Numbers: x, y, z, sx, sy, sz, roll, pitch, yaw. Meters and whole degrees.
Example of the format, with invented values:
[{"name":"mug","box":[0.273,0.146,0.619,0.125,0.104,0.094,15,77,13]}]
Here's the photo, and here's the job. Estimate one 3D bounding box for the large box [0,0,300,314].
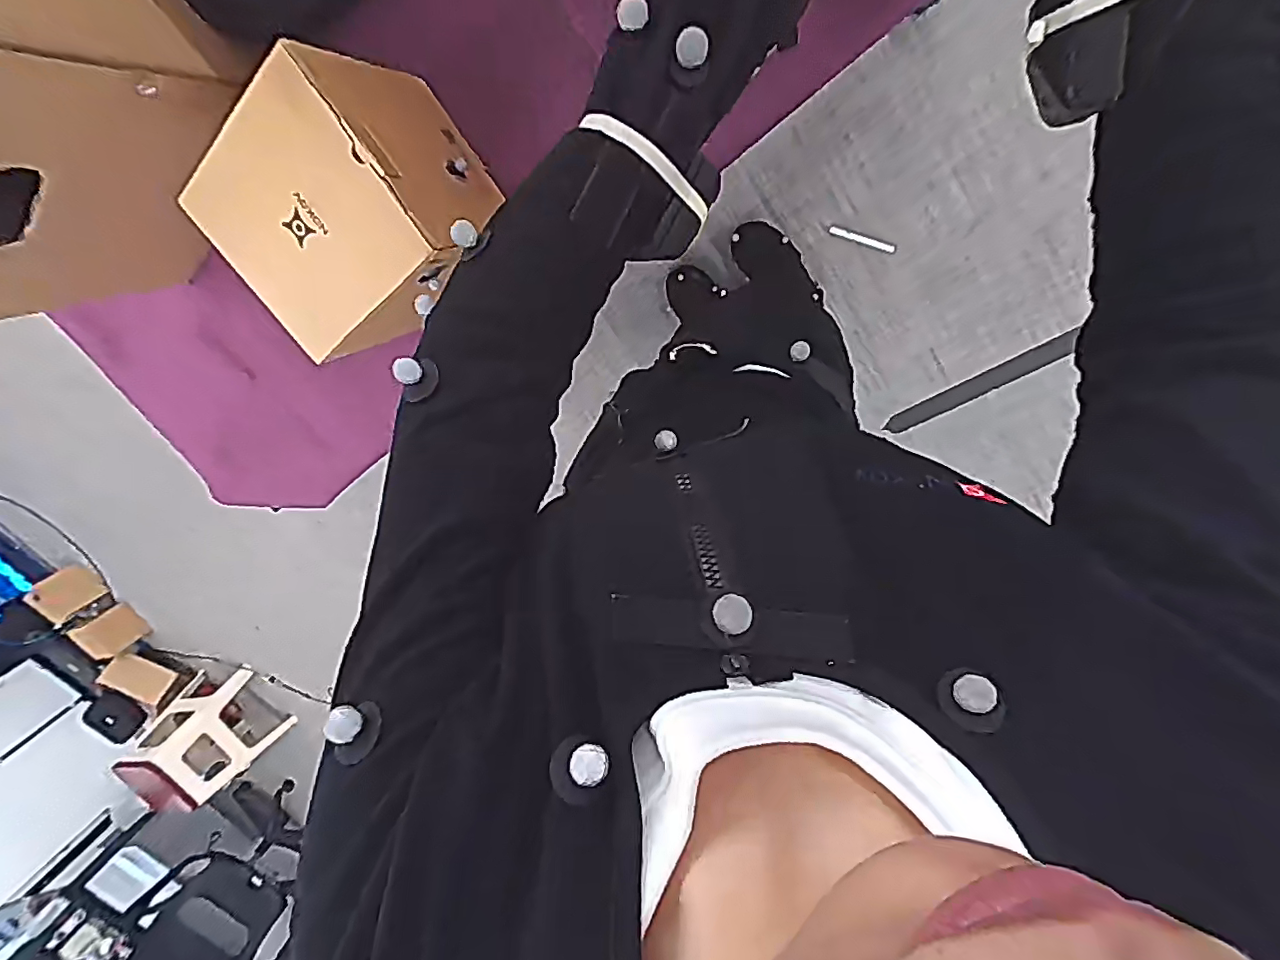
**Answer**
[{"name":"large box","box":[-0.601,-0.396,0.429,0.320,0.320,0.408,-32,109,28]}]
